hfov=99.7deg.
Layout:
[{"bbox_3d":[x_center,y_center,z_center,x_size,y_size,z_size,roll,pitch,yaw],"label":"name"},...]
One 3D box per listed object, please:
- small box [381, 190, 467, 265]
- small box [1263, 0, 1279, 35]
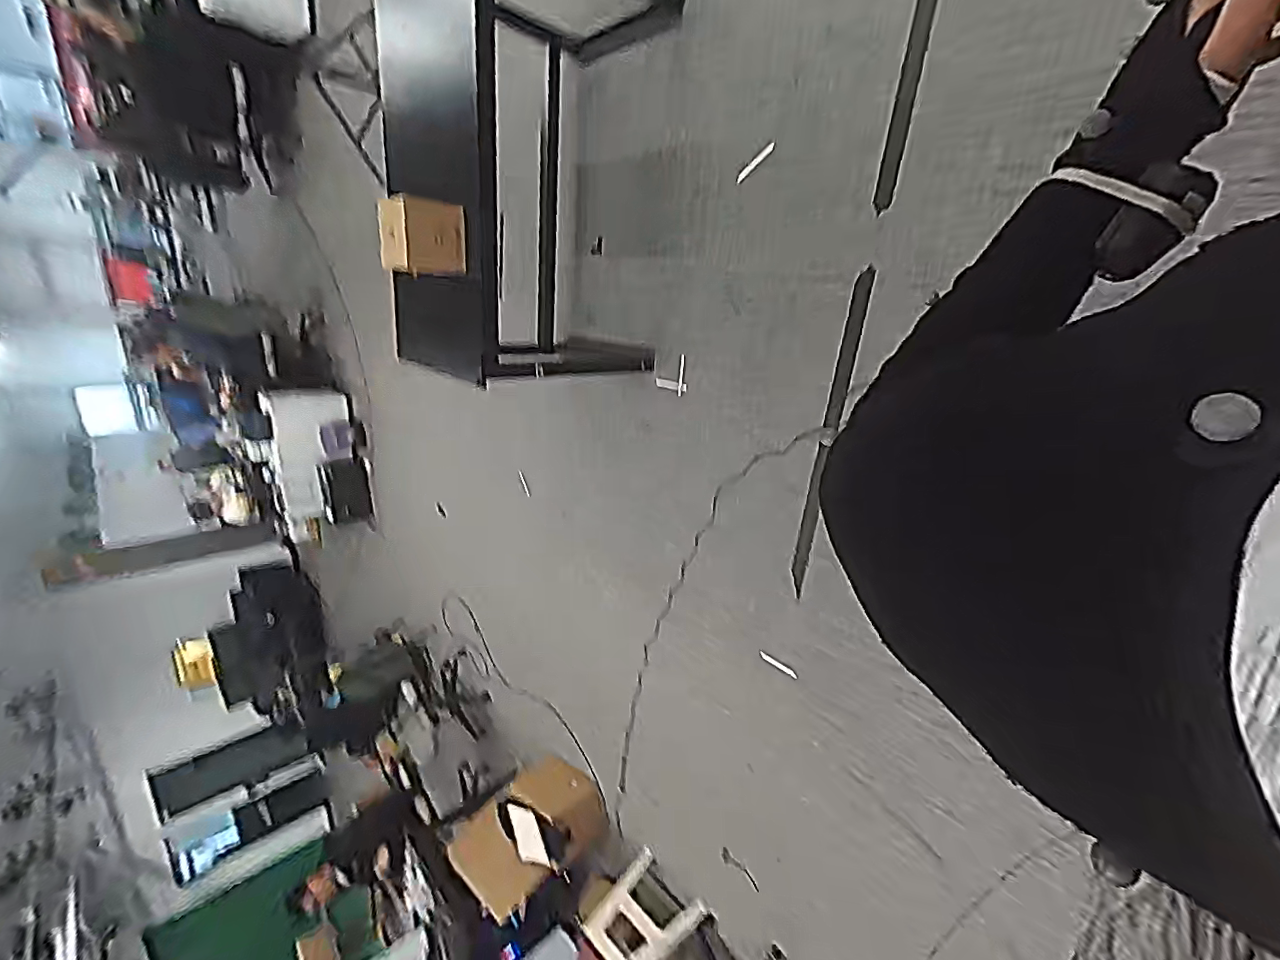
[{"bbox_3d":[-0.589,-0.689,1.487,0.179,0.176,0.168,23,116,42],"label":"small box"},{"bbox_3d":[0.365,-0.282,0.186,0.179,0.176,0.168,11,125,45],"label":"small box"}]
